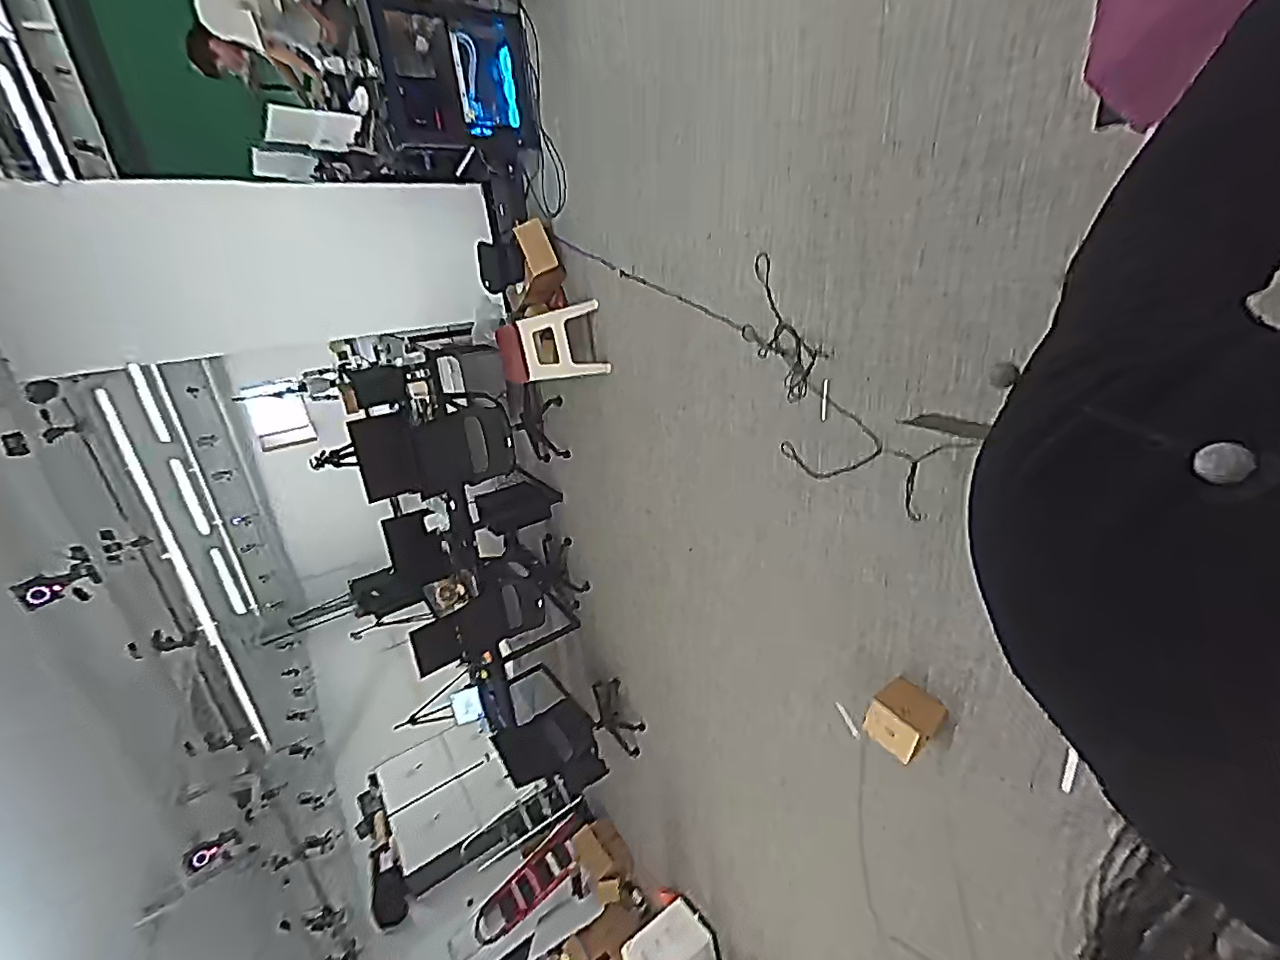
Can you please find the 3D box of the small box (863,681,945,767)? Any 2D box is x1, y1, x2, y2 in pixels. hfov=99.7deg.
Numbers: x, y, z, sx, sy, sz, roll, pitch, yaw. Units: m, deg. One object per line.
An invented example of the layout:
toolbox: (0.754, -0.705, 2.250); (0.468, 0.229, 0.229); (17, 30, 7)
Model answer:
small box: (0.906, 0.830, 1.854); (0.179, 0.176, 0.168); (36, 134, 45)
